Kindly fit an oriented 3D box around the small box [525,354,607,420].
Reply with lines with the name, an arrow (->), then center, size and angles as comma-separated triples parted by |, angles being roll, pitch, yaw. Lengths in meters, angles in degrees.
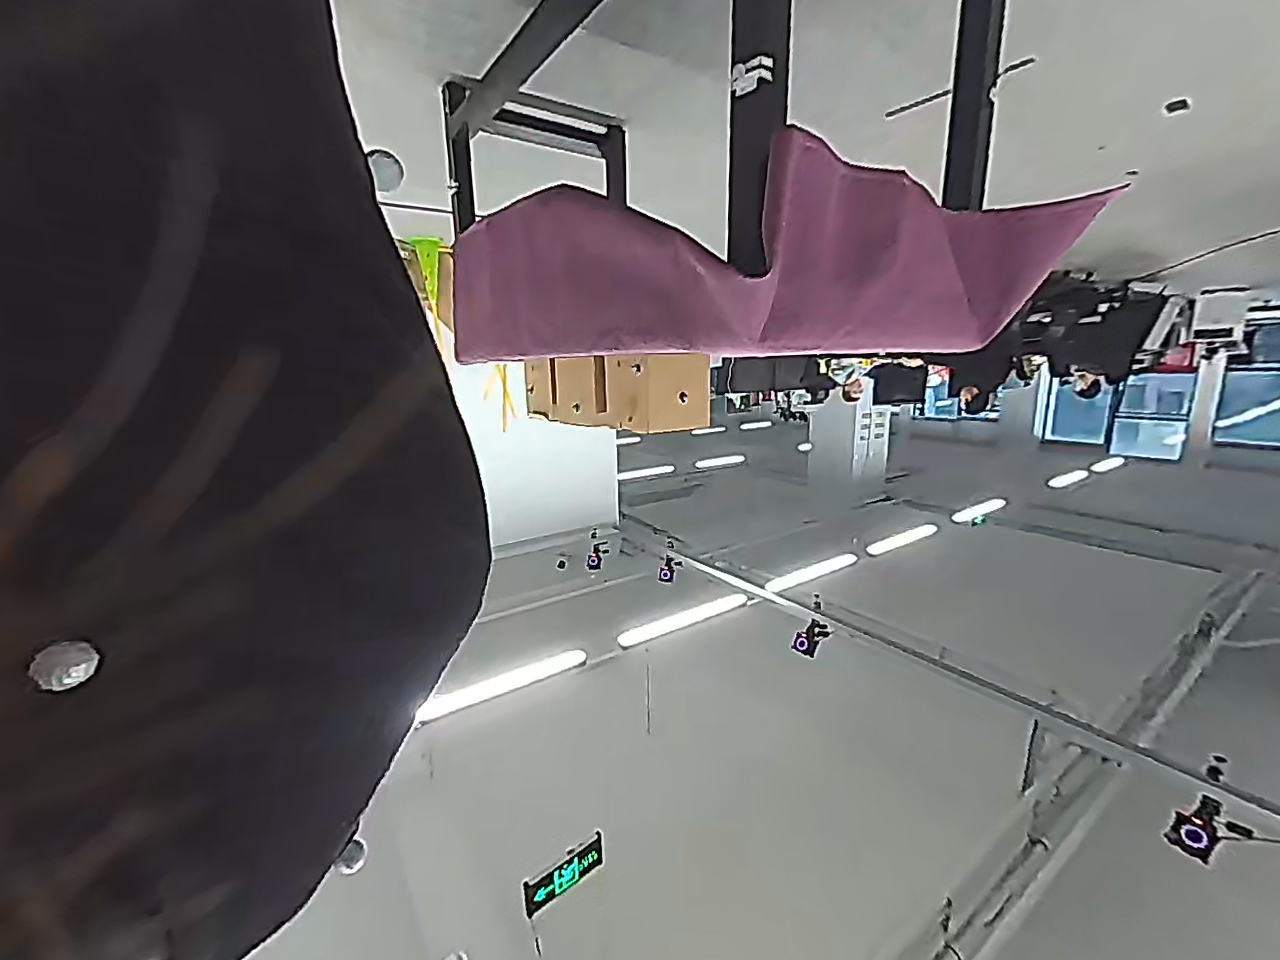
small box -> -0.213, -0.267, 1.536 | 0.179, 0.176, 0.168 | -11, -163, -35
